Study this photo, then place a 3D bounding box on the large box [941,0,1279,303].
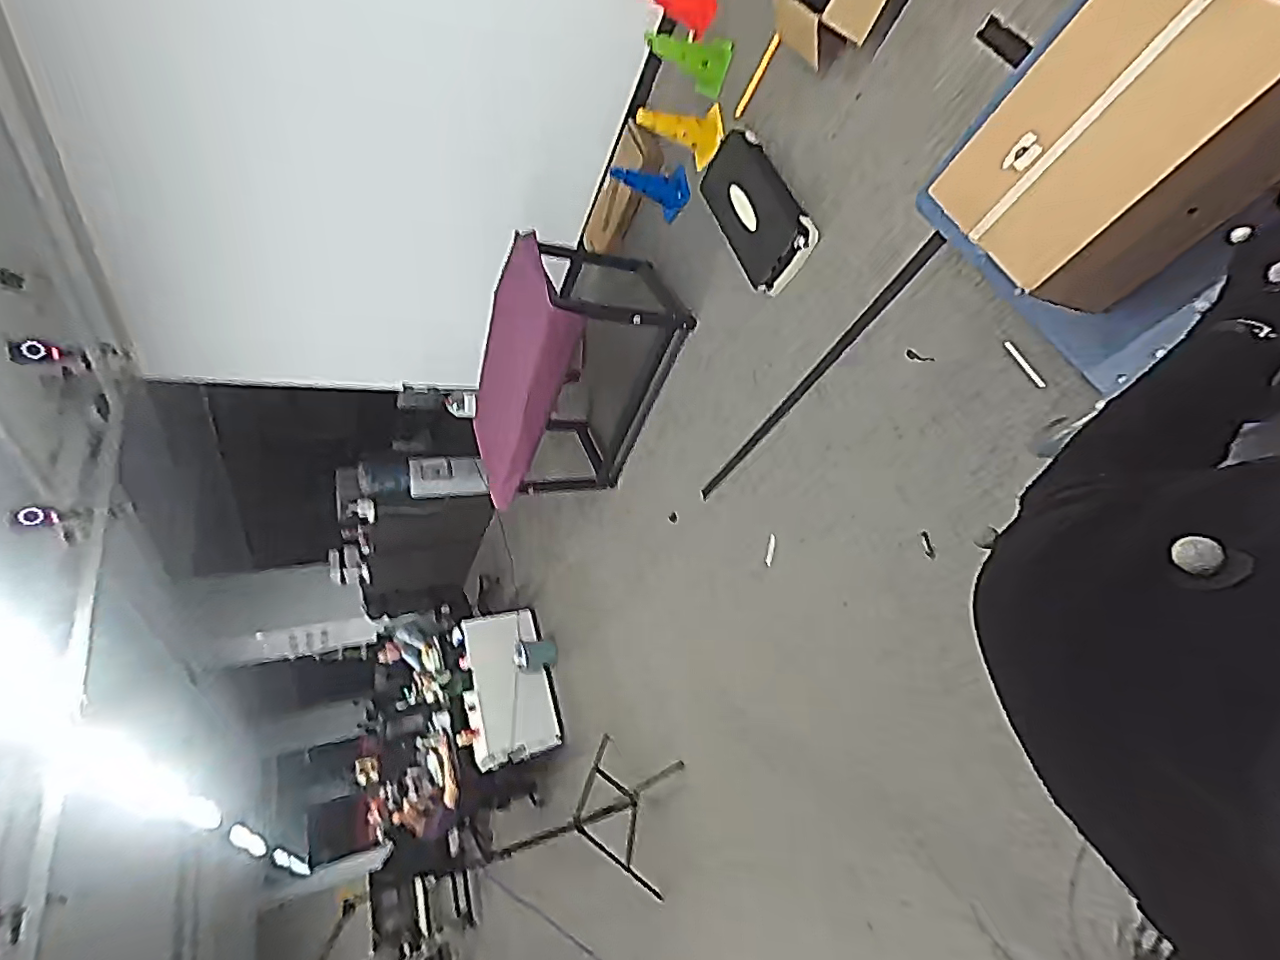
[{"bbox_3d":[0.847,-0.575,0.931,0.408,0.320,0.320,-55,46,47],"label":"large box"}]
